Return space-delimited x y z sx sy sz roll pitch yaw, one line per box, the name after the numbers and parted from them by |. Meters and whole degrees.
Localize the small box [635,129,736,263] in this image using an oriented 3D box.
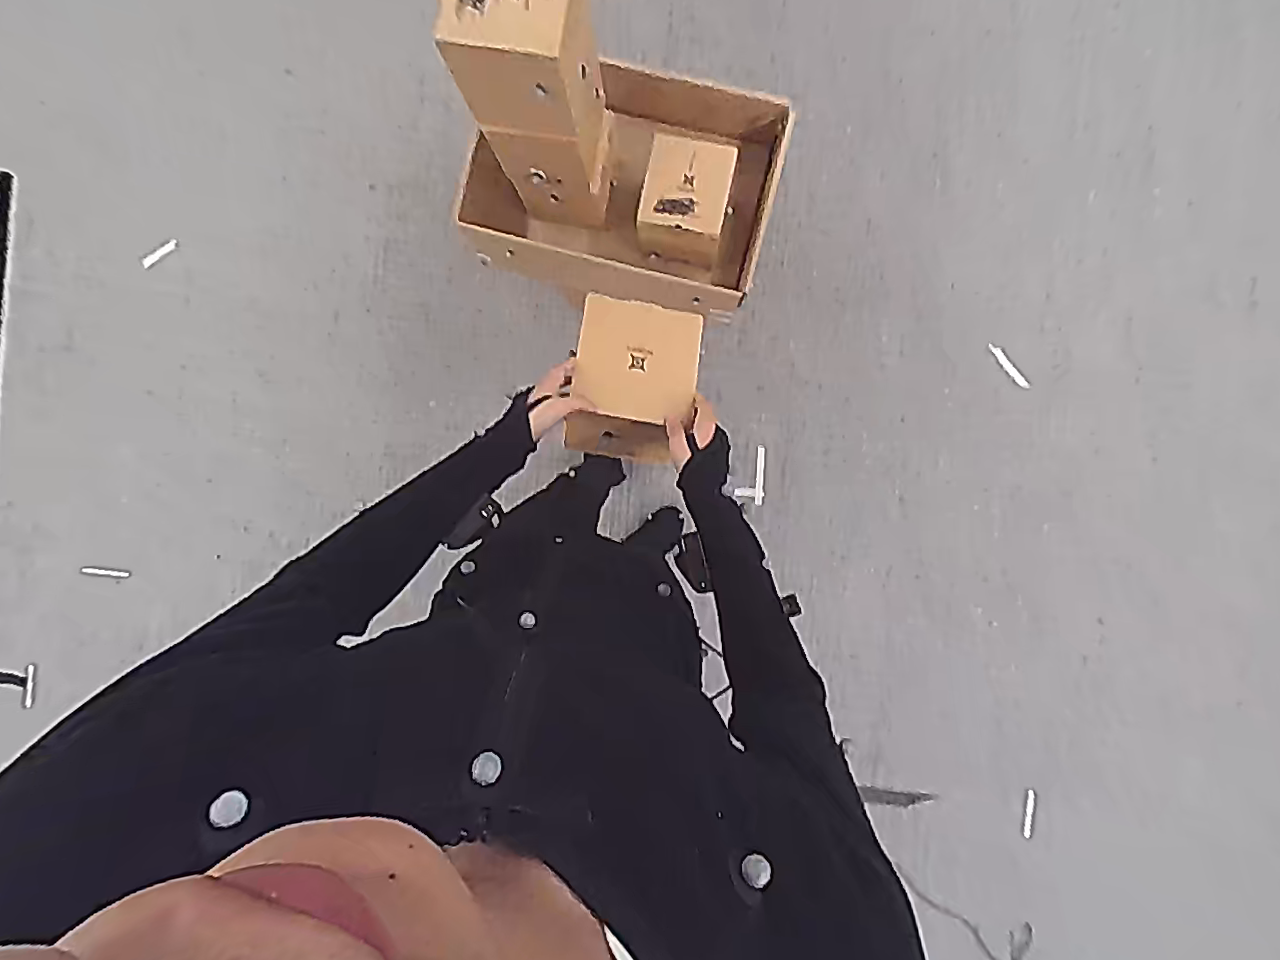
0.091 -0.573 1.115 0.168 0.176 0.179 12 91 2 | small box

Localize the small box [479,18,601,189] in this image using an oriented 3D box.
-0.167 -0.657 0.960 0.168 0.176 0.179 9 91 3 | small box

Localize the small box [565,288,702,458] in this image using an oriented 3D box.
-0.016 -0.145 0.792 0.168 0.176 0.179 9 73 -8 | small box

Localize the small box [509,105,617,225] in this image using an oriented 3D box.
-0.151 -0.656 1.123 0.179 0.176 0.168 12 92 1 | small box
